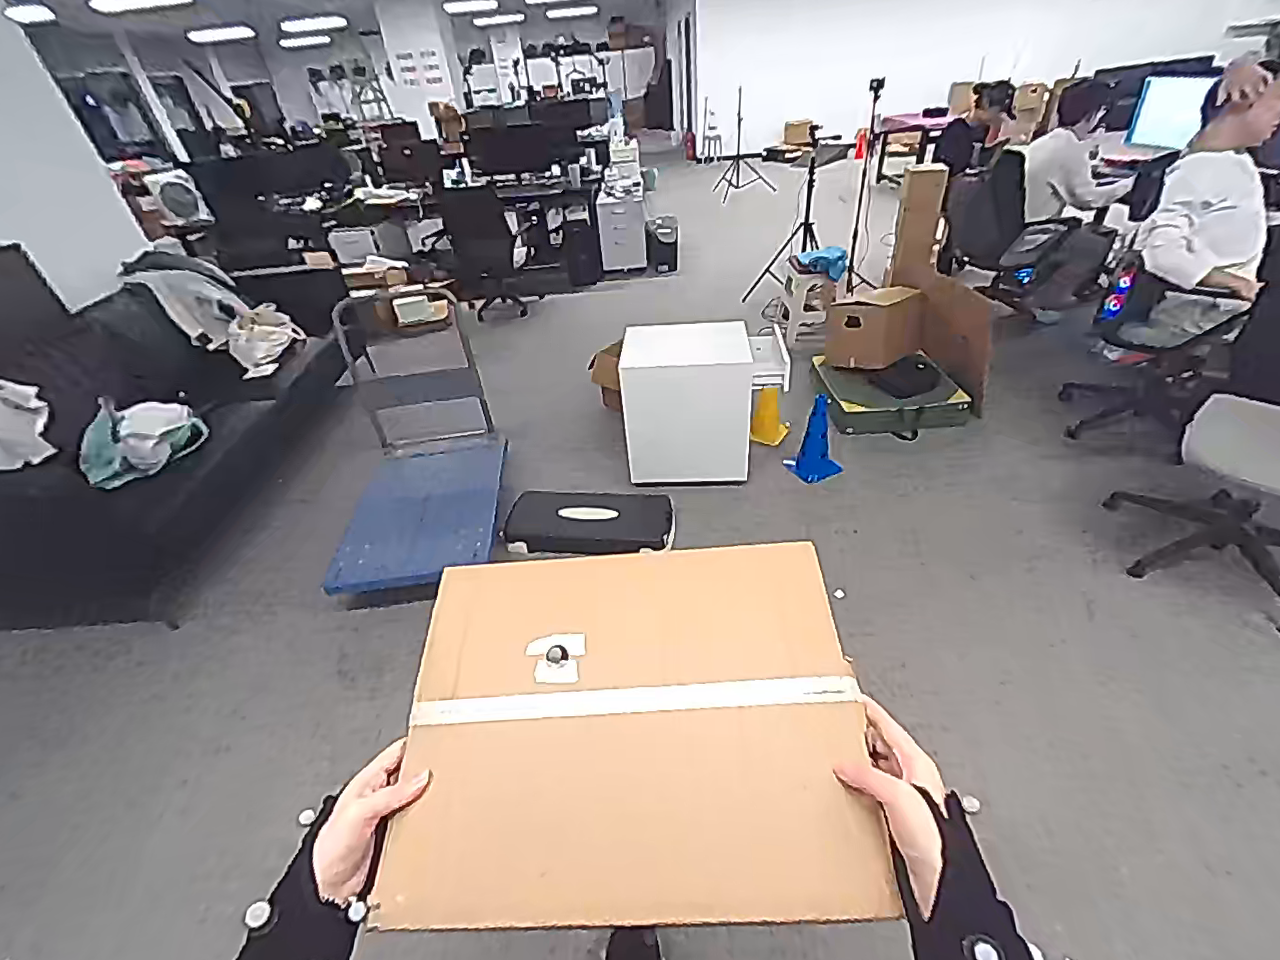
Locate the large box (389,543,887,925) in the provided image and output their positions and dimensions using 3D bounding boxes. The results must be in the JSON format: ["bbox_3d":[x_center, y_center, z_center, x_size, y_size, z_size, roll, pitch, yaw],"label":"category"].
[{"bbox_3d":[0.007,0.301,0.628,0.408,0.320,0.320,-6,51,5],"label":"large box"}]
